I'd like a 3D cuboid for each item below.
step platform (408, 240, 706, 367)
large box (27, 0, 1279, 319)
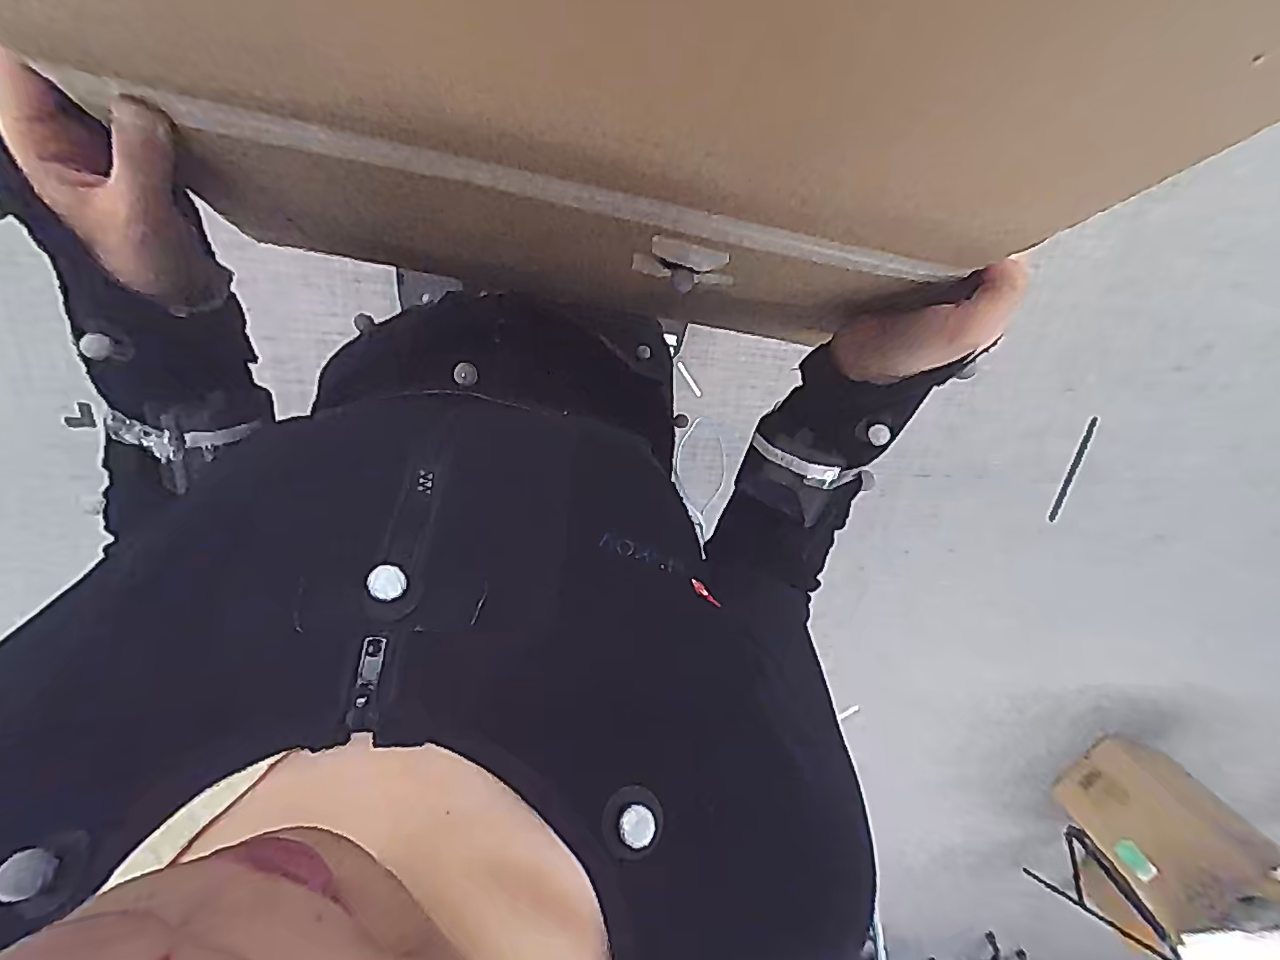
[{"bbox_3d":[-0.182,-0.473,1.288,0.684,0.204,0.286,8,113,-13],"label":"step platform"},{"bbox_3d":[0.001,-0.290,0.217,0.408,0.320,0.320,7,90,-9],"label":"large box"}]
